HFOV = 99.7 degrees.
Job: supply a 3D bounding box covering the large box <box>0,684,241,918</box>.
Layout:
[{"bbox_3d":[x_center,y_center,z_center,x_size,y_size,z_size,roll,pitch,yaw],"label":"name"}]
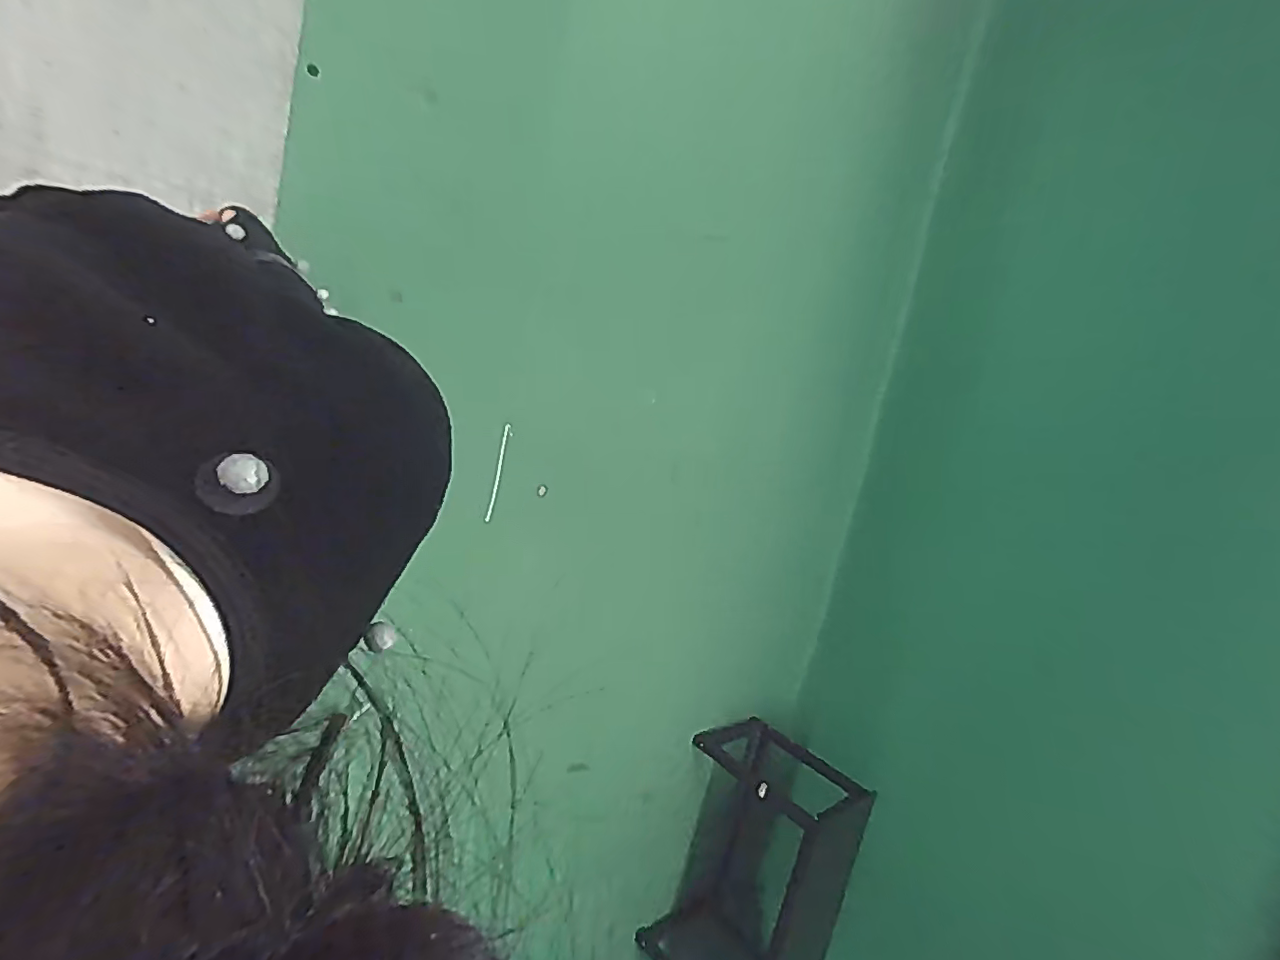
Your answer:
[{"bbox_3d":[-1.117,0.698,1.114,0.408,0.320,0.320,-13,113,-42],"label":"large box"}]
